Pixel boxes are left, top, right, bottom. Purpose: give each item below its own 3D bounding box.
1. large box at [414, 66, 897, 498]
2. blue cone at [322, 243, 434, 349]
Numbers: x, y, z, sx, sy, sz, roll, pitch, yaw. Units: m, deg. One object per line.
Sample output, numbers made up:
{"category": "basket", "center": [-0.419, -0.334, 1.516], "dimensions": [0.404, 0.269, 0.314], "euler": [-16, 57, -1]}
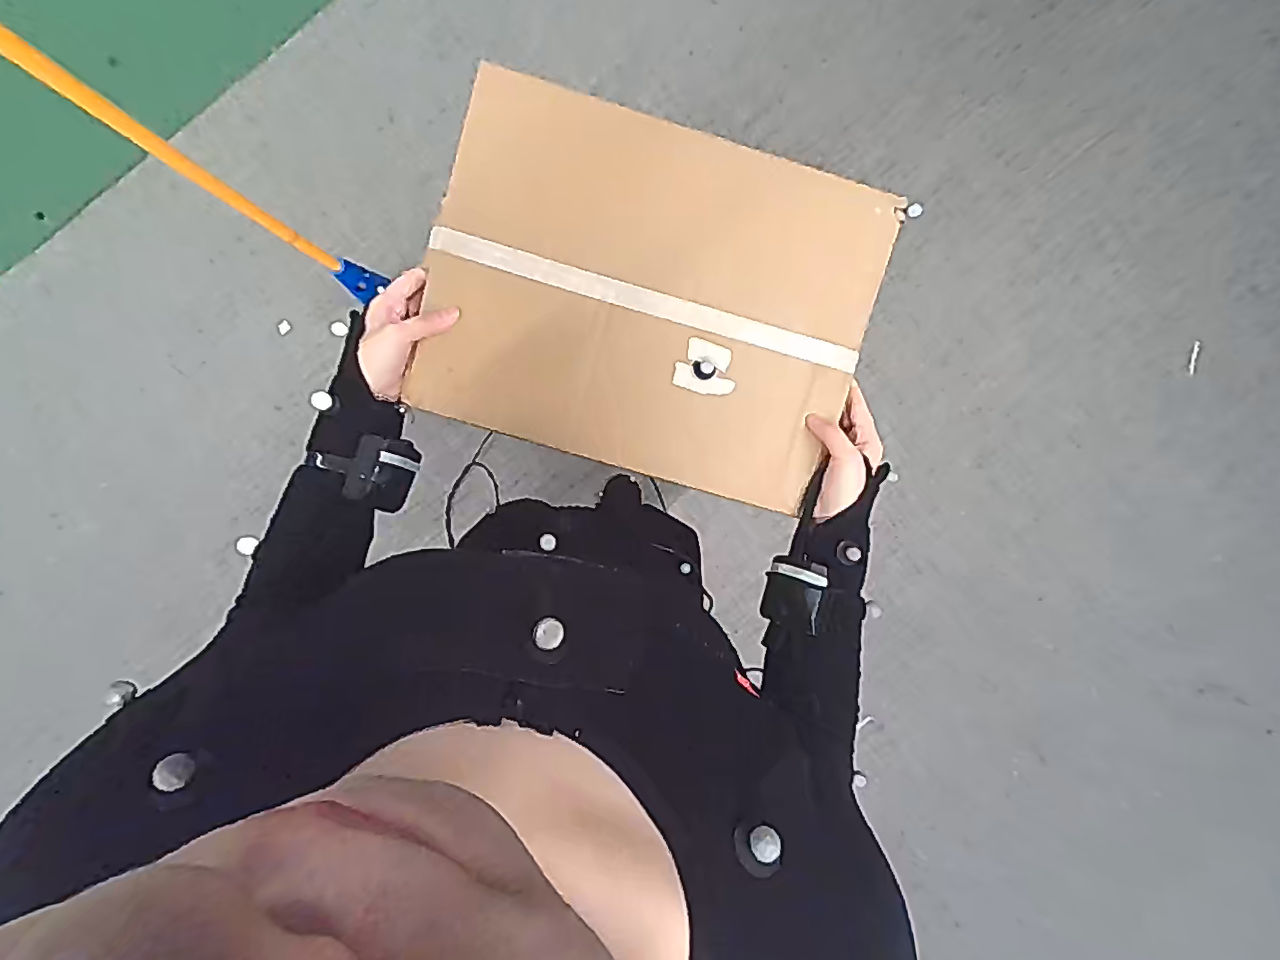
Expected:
{"category": "large box", "center": [0.006, -0.192, 0.658], "dimensions": [0.408, 0.320, 0.320], "euler": [16, 96, -4]}
{"category": "blue cone", "center": [-0.665, -0.483, 1.353], "dimensions": [0.193, 0.380, 0.192], "euler": [-29, 89, 0]}
